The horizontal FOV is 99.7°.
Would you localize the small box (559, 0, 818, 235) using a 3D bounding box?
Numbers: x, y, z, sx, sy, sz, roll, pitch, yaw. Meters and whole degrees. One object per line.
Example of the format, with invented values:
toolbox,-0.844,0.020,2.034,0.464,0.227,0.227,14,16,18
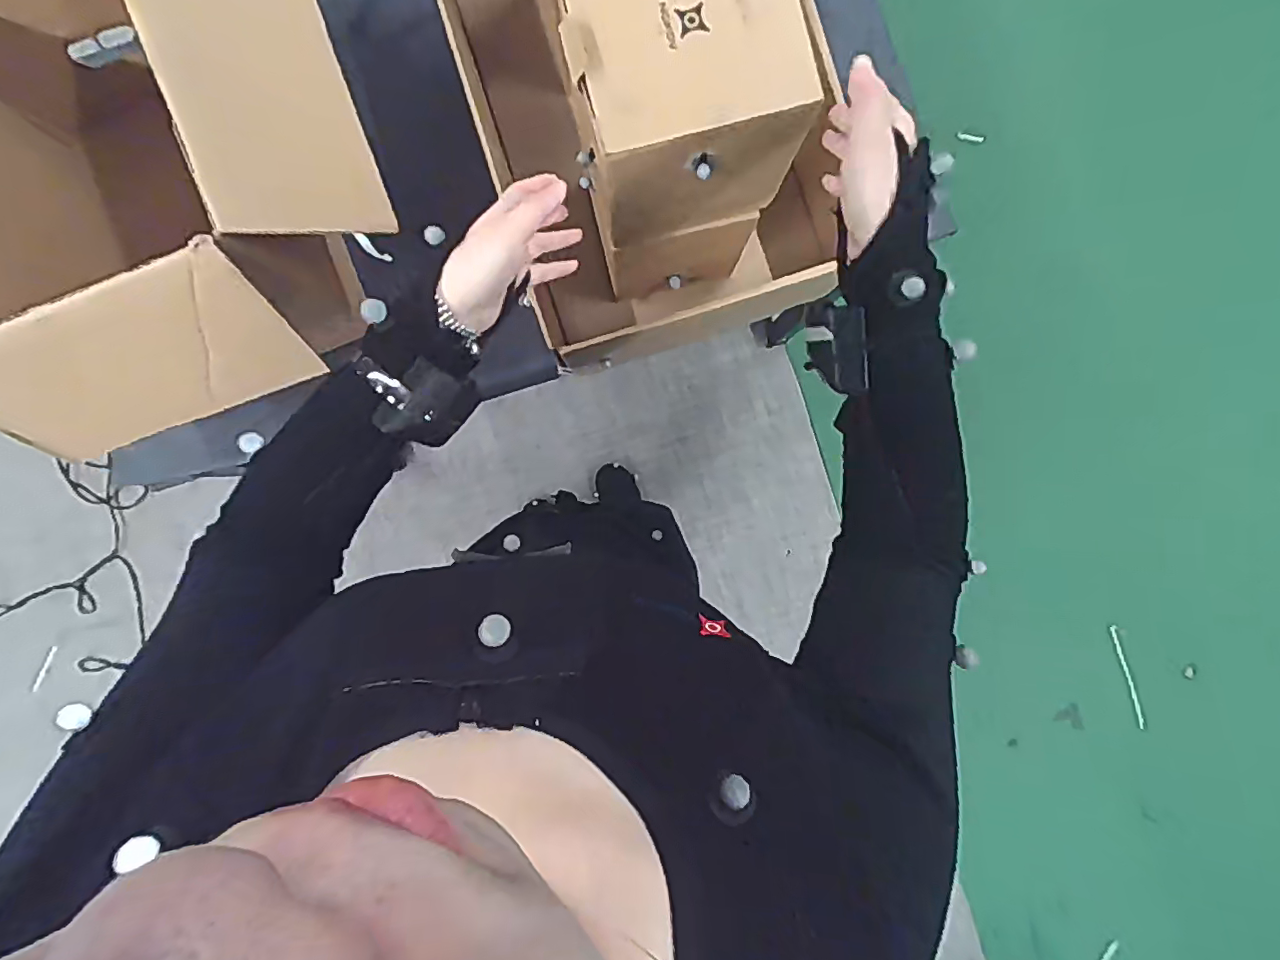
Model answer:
small box,0.034,-0.350,0.494,0.179,0.176,0.168,-15,93,-2
